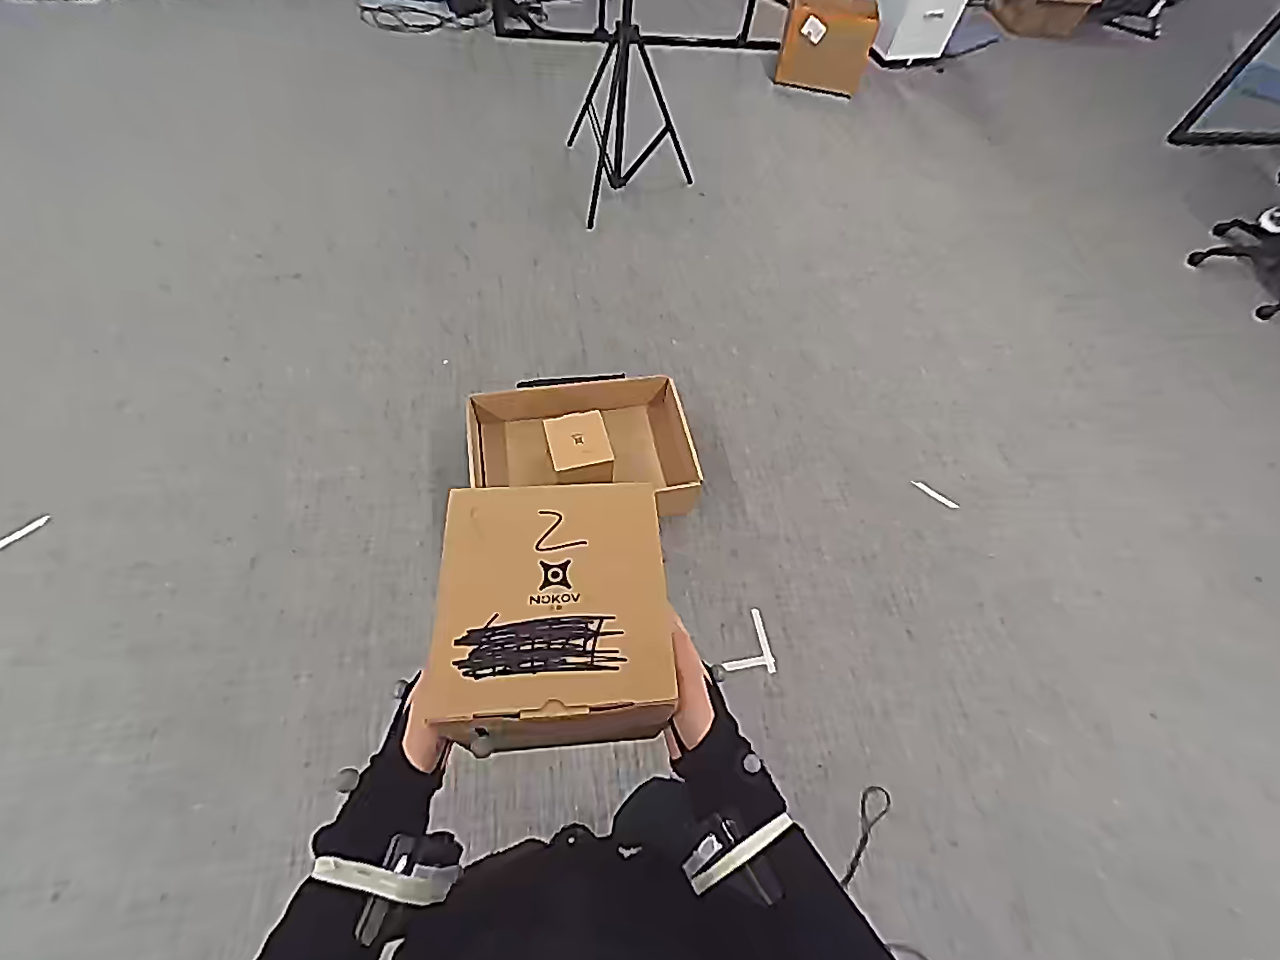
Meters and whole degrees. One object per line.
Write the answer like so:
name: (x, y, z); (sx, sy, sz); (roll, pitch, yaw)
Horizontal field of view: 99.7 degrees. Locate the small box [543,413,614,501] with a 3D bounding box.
small box: (-0.180, -0.064, 1.558); (0.168, 0.176, 0.179); (-13, 63, -13)
